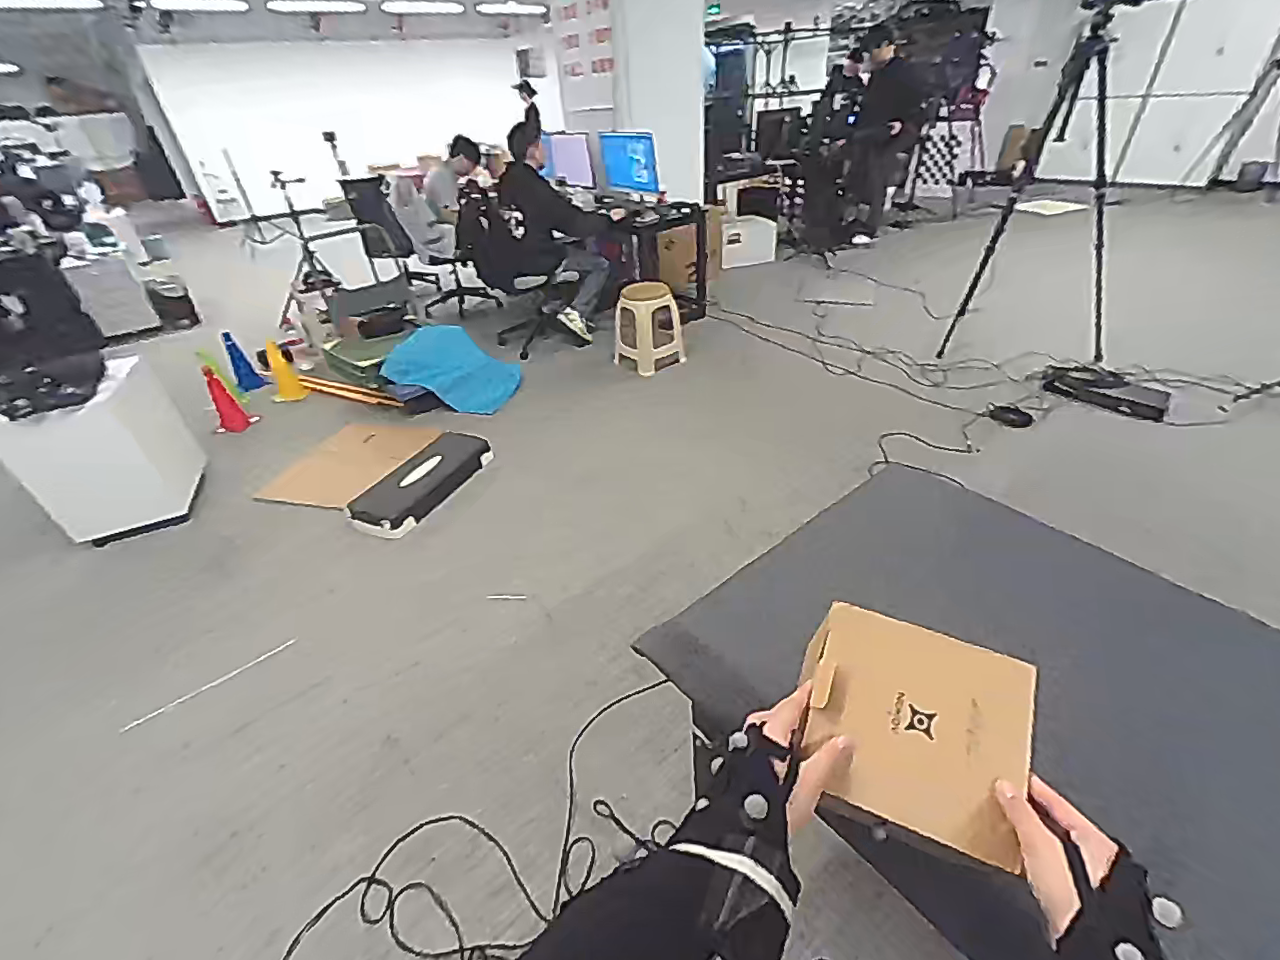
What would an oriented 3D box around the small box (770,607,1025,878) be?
[{"bbox_3d":[0.234,0.249,0.524,0.179,0.176,0.168,16,62,16],"label":"small box"}]
